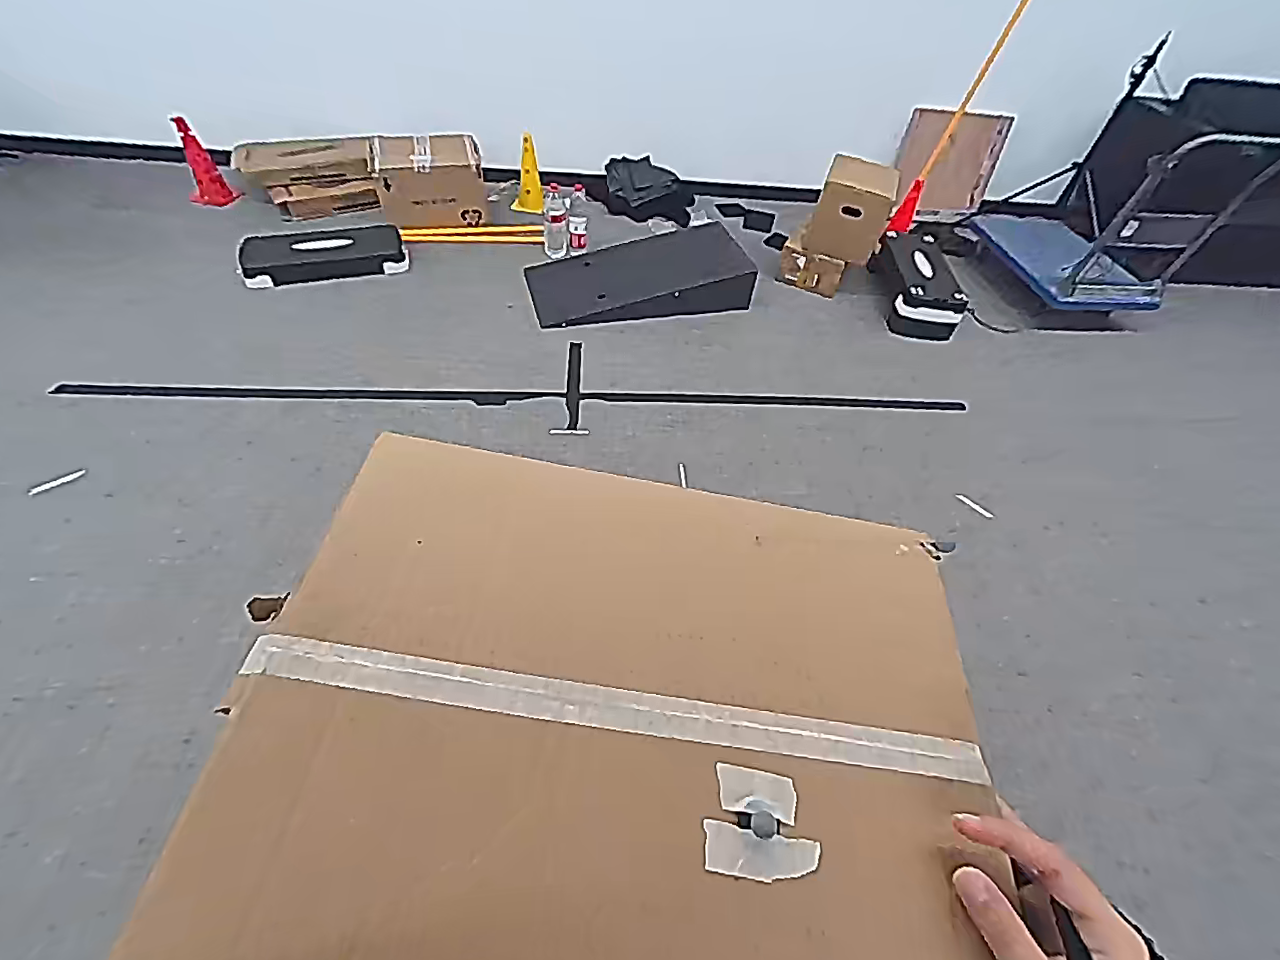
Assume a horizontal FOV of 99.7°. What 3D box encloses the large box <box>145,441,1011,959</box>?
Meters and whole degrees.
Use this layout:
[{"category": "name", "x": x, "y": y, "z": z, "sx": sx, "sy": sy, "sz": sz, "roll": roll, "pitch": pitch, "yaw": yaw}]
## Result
[{"category": "large box", "x": -0.023, "y": 0.212, "z": 0.433, "sx": 0.408, "sy": 0.320, "sz": 0.320, "roll": 11, "pitch": 55, "yaw": -4}]
